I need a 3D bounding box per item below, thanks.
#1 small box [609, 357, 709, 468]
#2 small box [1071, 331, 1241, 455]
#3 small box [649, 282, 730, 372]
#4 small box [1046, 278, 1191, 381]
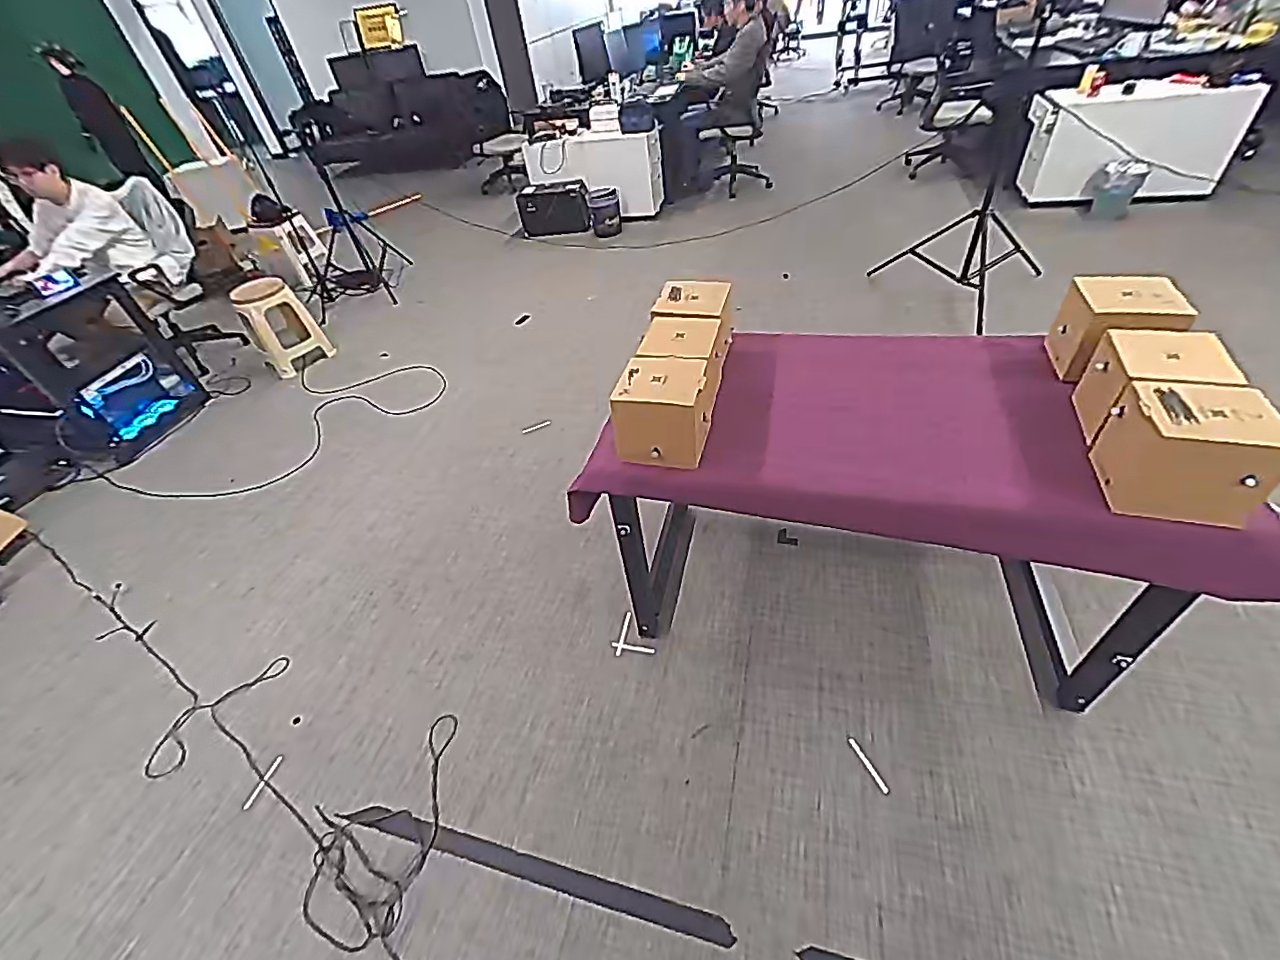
[{"bbox_3d":[0.049,-0.144,1.165,0.179,0.176,0.168,7,45,15],"label":"small box"},{"bbox_3d":[0.970,-0.167,1.038,0.168,0.176,0.179,9,45,19],"label":"small box"},{"bbox_3d":[0.136,-0.399,1.414,0.179,0.176,0.168,8,48,16],"label":"small box"},{"bbox_3d":[1.026,-0.326,1.185,0.179,0.176,0.168,7,47,16],"label":"small box"}]
